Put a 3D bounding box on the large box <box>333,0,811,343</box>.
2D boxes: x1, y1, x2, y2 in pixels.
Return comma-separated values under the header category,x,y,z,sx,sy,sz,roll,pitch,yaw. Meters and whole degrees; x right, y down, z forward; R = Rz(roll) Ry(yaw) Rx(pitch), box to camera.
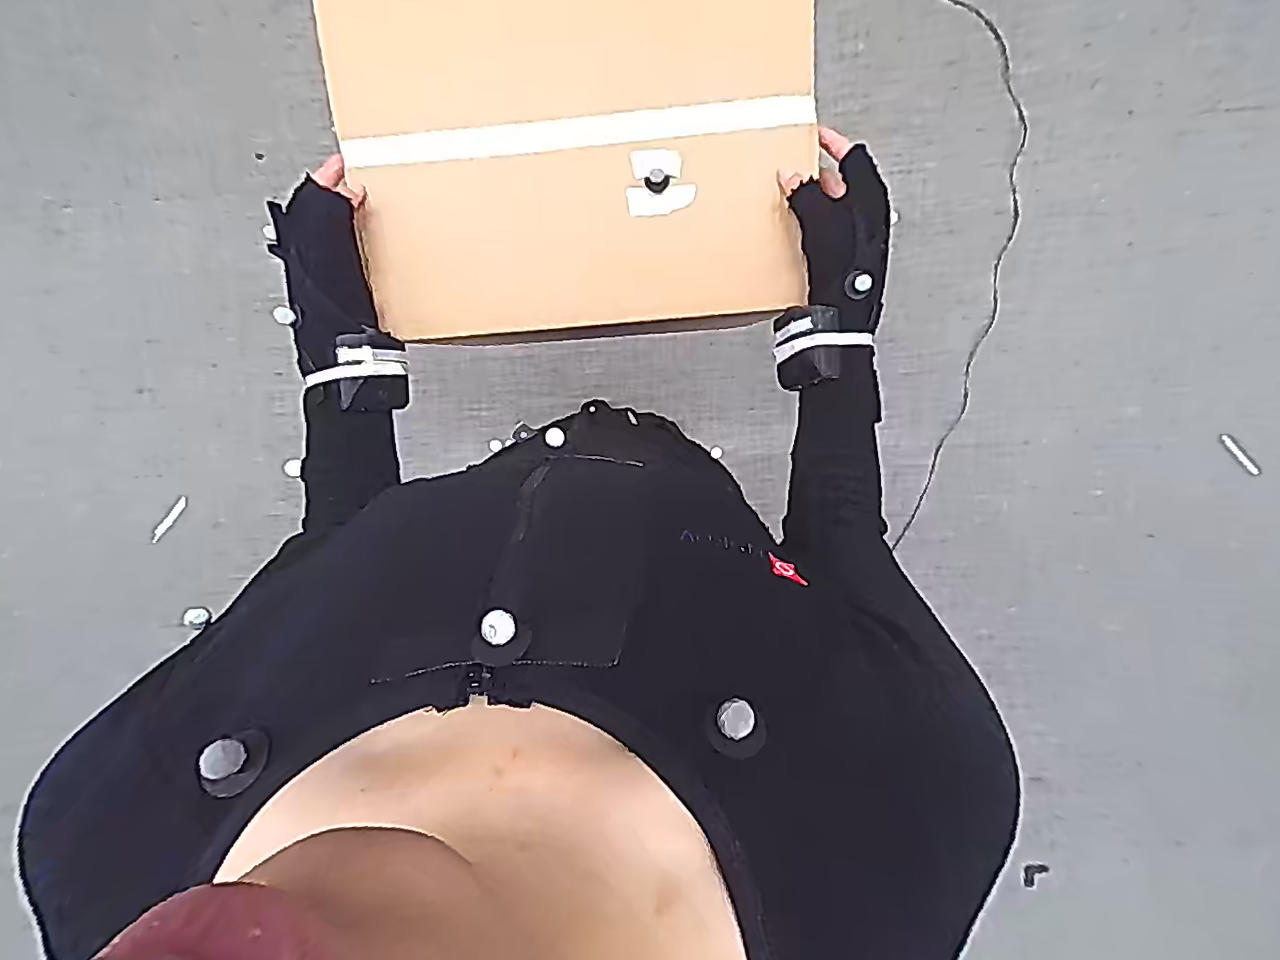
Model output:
category,x,y,z,sx,sy,sz,roll,pitch,yaw
large box,-0.052,-0.338,0.619,0.408,0.320,0.320,-4,103,1
